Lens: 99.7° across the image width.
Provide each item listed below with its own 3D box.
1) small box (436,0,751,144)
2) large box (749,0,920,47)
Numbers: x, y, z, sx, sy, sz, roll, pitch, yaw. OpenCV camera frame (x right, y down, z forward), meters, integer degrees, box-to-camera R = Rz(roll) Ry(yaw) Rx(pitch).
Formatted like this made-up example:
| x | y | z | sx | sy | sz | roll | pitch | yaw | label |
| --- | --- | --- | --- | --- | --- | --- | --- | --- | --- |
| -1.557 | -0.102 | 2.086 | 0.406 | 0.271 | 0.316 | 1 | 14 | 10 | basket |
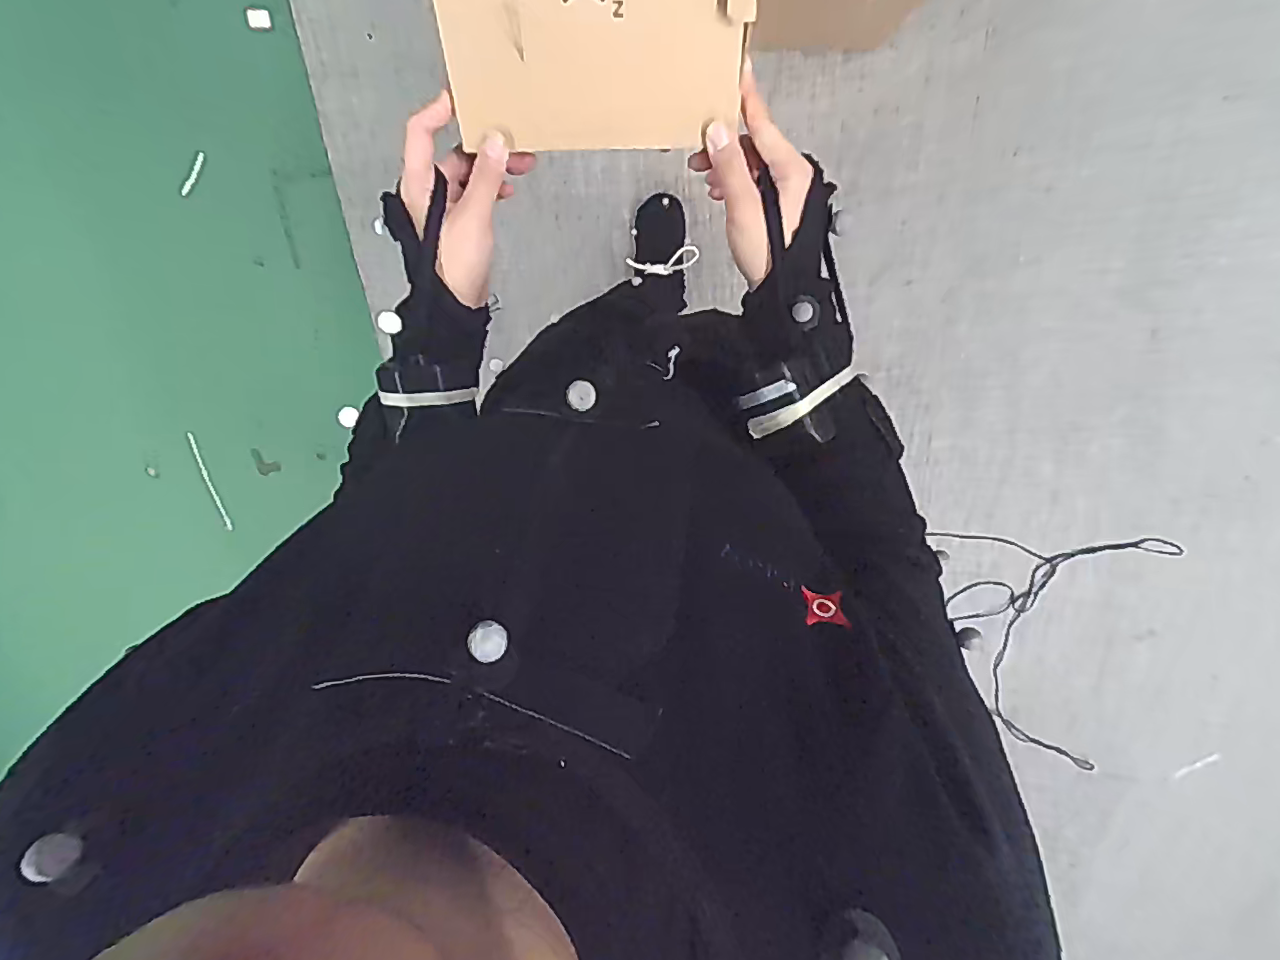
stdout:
| x | y | z | sx | sy | sz | roll | pitch | yaw | label |
| --- | --- | --- | --- | --- | --- | --- | --- | --- | --- |
| -0.024 | -0.327 | 0.346 | 0.179 | 0.176 | 0.168 | 0 | 131 | 3 | small box |
| 0.239 | -0.895 | 0.822 | 0.408 | 0.320 | 0.320 | 4 | 115 | 5 | large box |
